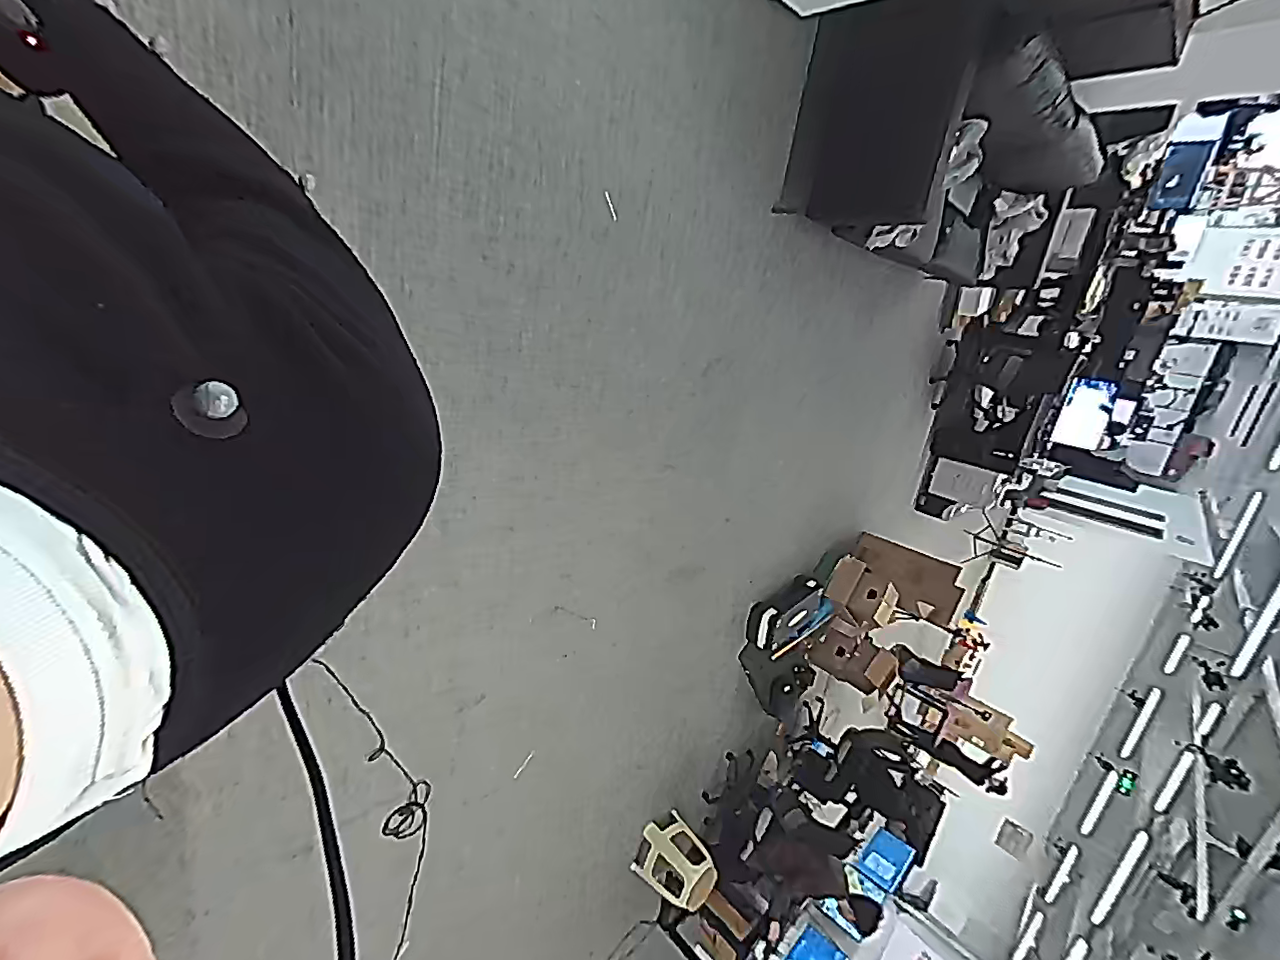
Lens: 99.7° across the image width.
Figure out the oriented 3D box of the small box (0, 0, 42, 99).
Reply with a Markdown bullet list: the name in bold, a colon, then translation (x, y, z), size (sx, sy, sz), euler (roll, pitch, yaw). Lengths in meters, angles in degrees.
- **small box**: translation (-1.051, -0.728, 0.832), size (0.168, 0.176, 0.179), euler (-4, 111, -45)
